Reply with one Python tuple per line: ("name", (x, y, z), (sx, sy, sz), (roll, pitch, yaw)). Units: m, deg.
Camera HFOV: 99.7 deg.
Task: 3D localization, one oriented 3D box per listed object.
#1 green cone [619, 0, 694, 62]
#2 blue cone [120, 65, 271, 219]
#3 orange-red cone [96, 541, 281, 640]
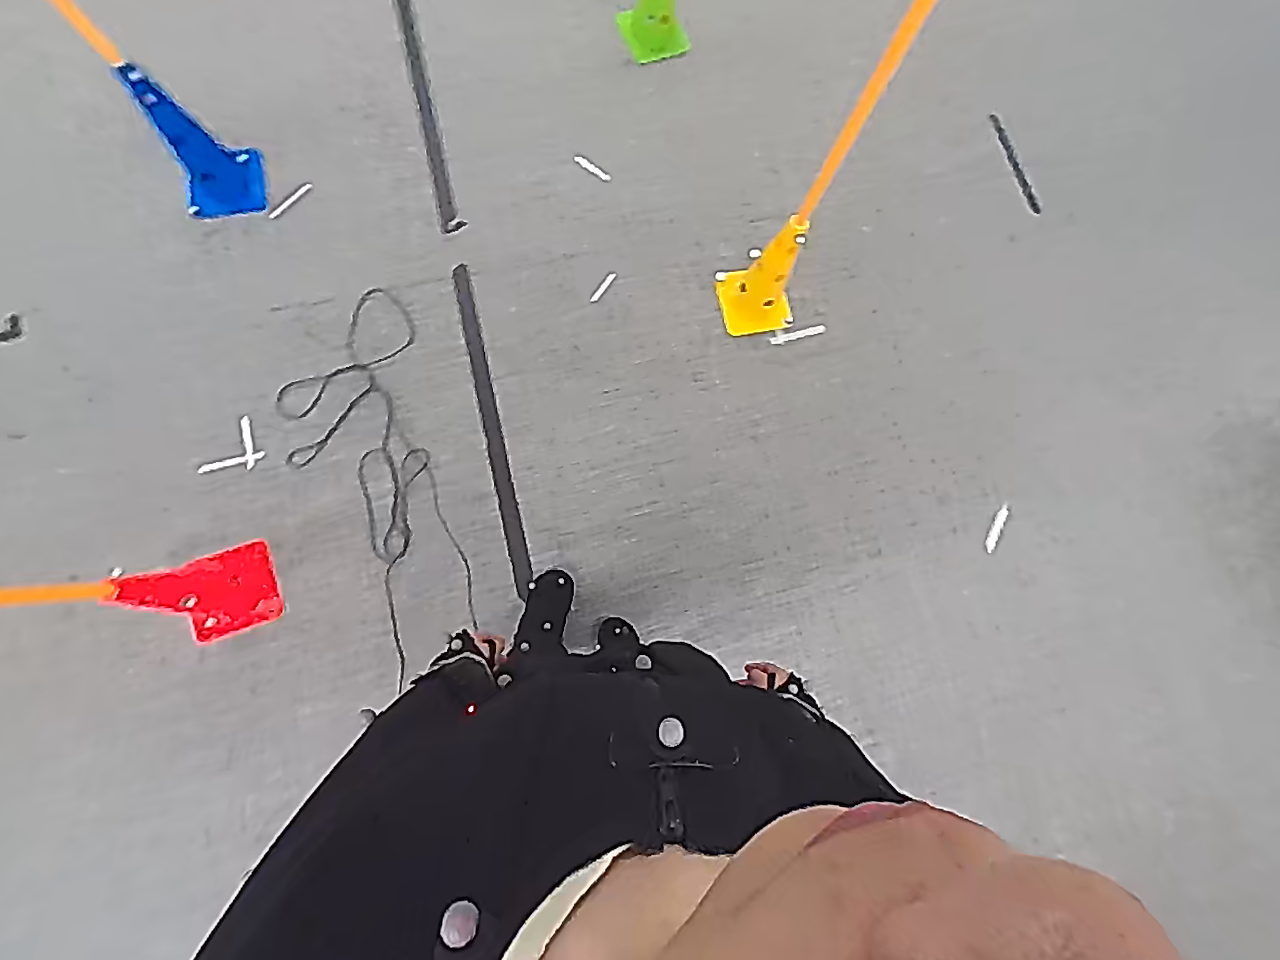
("green cone", (0.070, -1.480, 1.575), (0.200, 0.368, 0.202), (-24, 84, -10))
("blue cone", (-1.118, -0.850, 1.341), (0.193, 0.380, 0.192), (-11, 80, -7))
("orange-red cone", (-0.954, 0.226, 1.121), (0.199, 0.360, 0.198), (-18, 81, -10))
